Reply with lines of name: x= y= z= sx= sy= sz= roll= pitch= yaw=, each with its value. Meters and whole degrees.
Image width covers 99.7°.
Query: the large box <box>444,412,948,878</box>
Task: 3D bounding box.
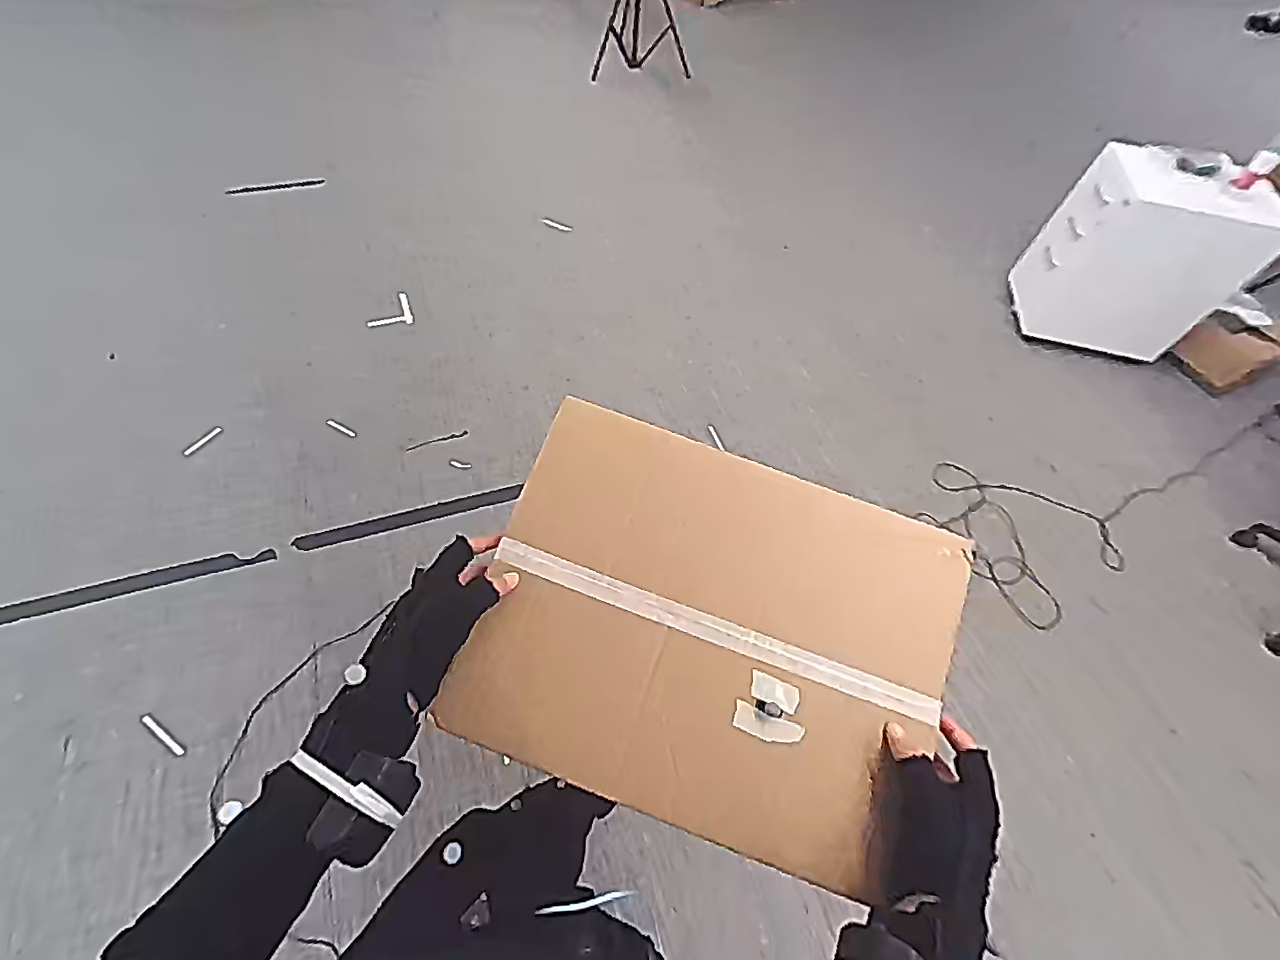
large box: x=0.057 y=0.167 z=0.640 sx=0.408 sy=0.320 sz=0.320 roll=20 pitch=77 yaw=3
